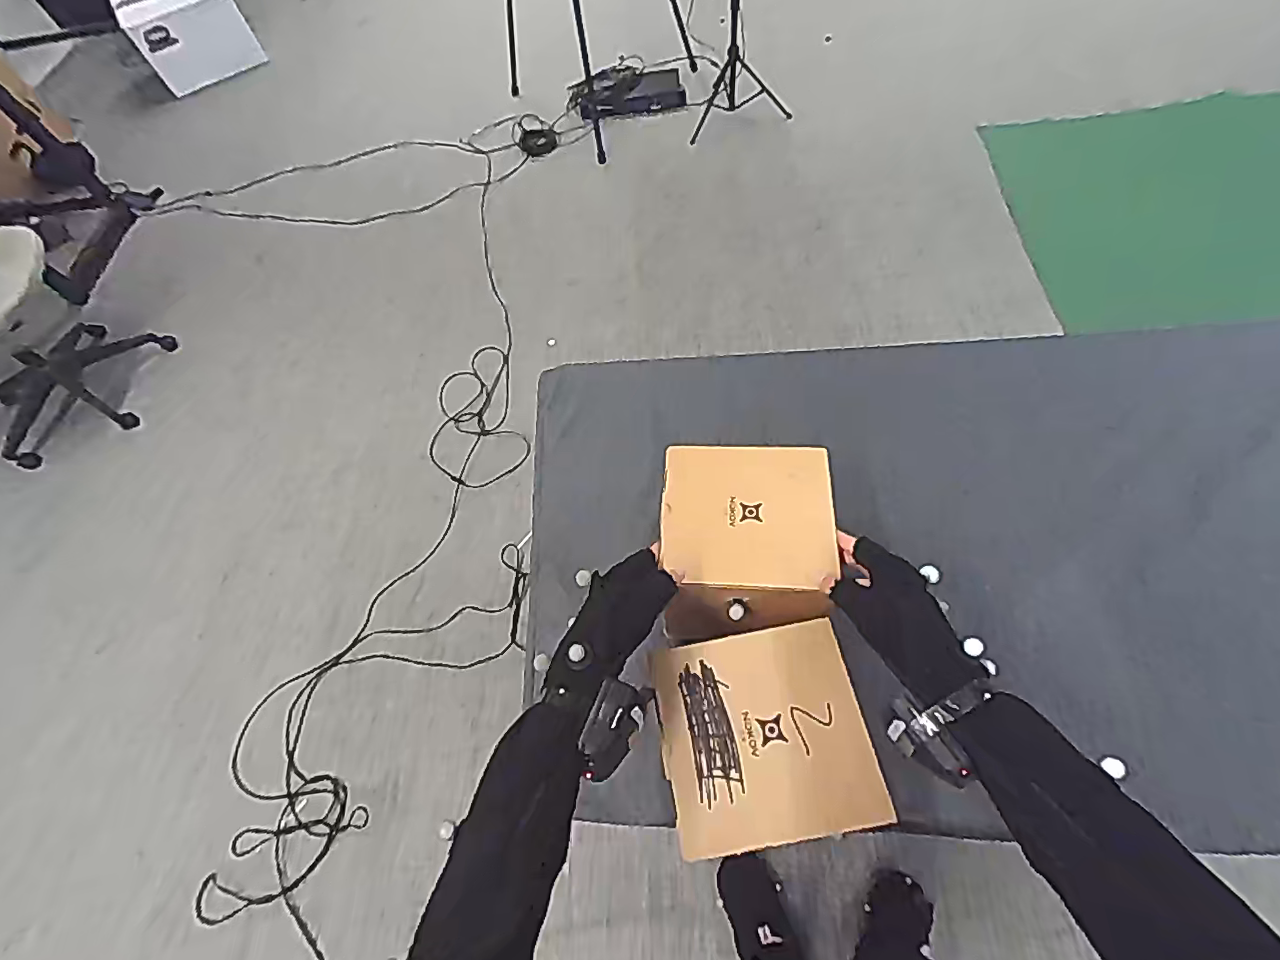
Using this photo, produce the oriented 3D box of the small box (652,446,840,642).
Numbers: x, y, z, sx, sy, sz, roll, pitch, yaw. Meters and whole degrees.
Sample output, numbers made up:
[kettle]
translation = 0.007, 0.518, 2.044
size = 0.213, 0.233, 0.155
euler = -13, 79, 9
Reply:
[small box]
translation = 0.114, 0.077, 0.612
size = 0.179, 0.176, 0.168
euler = 0, 56, 9
